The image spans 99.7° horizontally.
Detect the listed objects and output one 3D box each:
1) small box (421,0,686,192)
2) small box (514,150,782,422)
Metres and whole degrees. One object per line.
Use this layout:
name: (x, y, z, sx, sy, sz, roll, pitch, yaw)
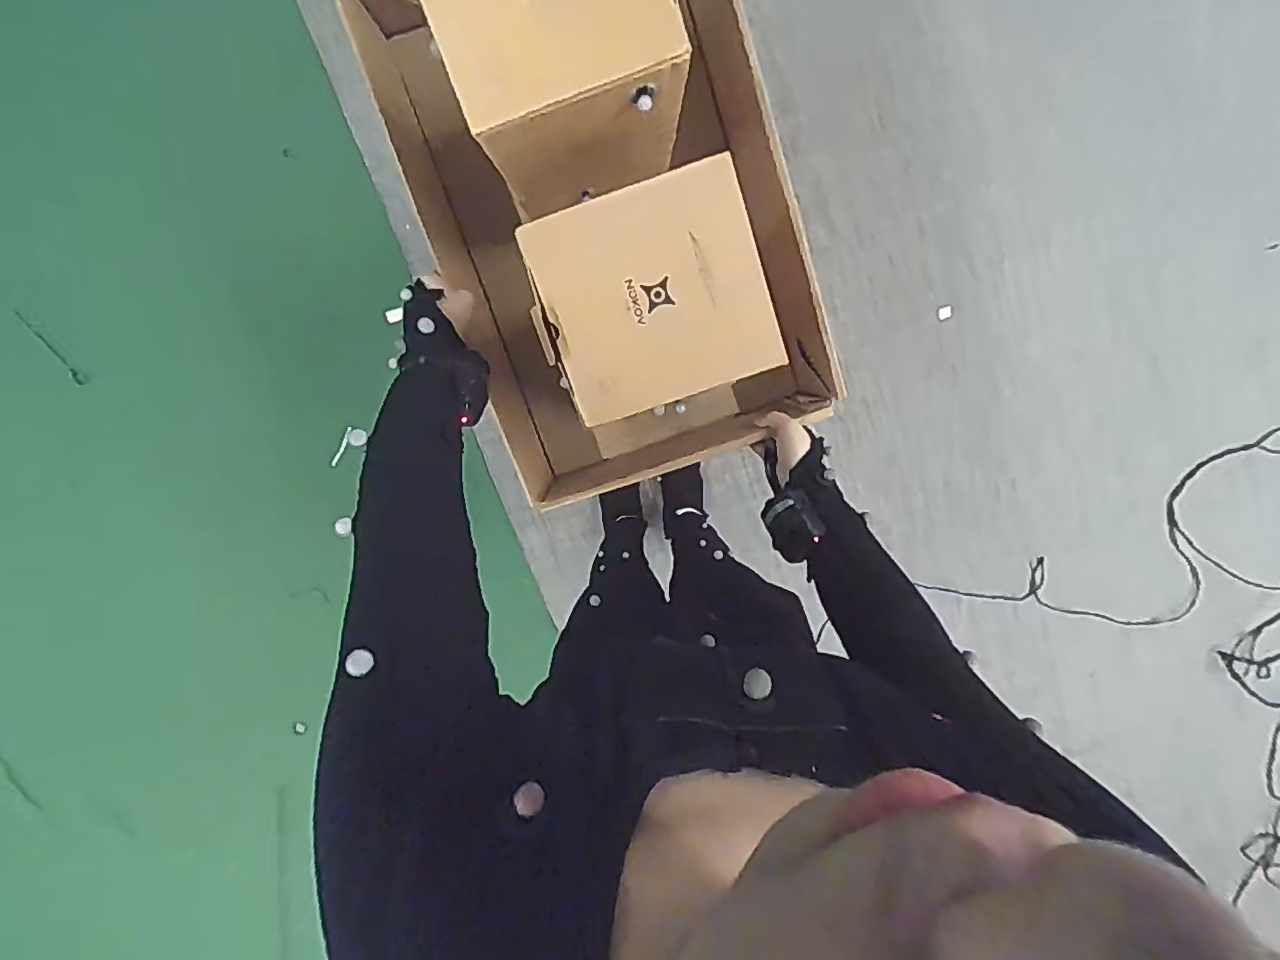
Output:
small box: (-0.073, -0.377, 0.461, 0.179, 0.176, 0.168, -20, 102, 2)
small box: (0.008, -0.161, 0.502, 0.179, 0.176, 0.168, -19, 100, 3)
